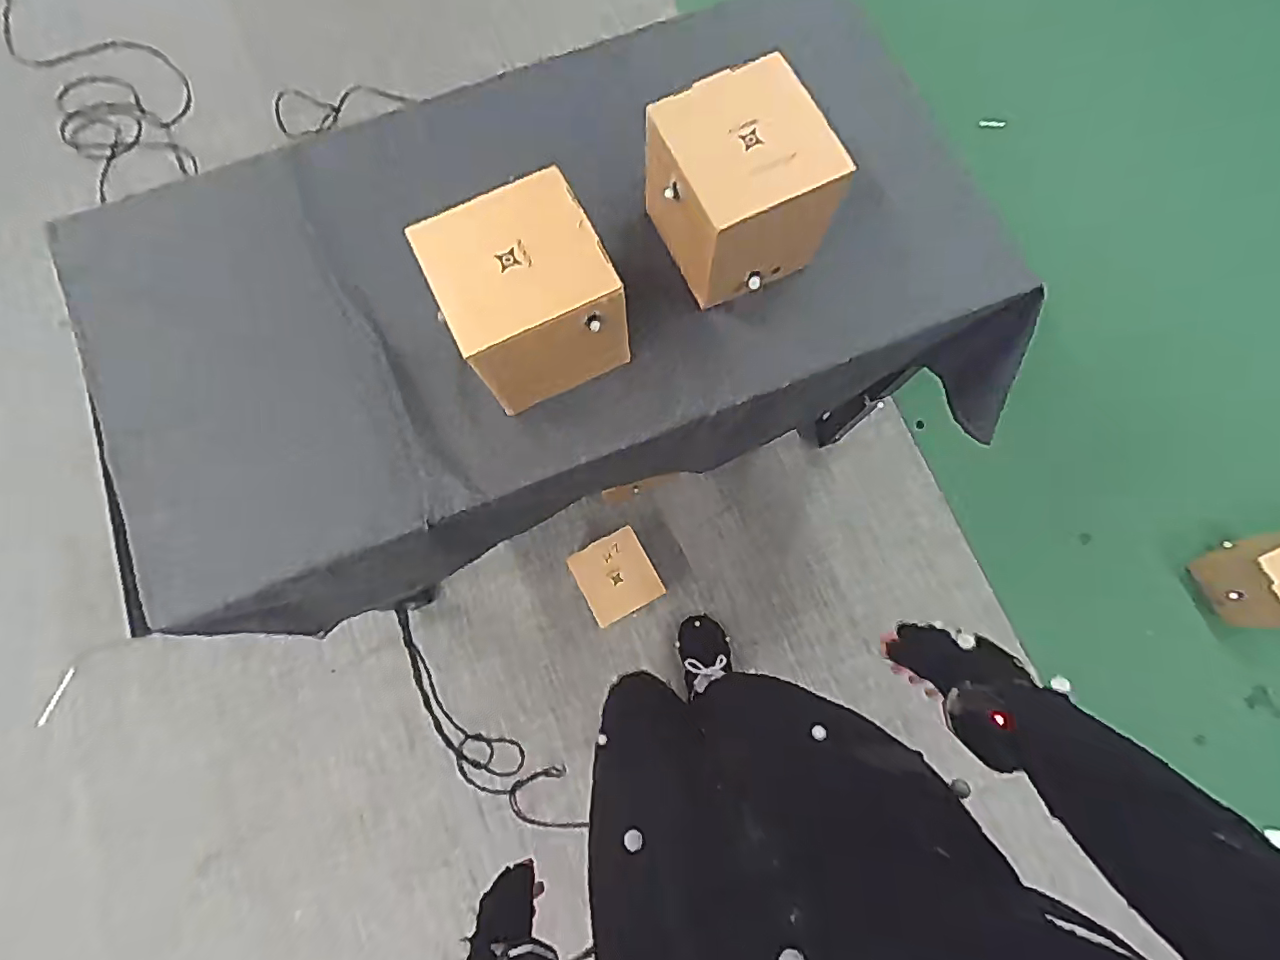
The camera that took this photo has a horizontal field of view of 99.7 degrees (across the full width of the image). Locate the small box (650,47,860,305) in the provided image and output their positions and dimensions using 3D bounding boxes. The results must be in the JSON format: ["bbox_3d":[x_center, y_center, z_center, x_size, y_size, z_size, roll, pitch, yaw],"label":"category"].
[{"bbox_3d":[0.119,-0.346,0.642,0.168,0.176,0.179,-25,78,-3],"label":"small box"}]

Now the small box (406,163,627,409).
[{"bbox_3d":[-0.126,-0.205,0.617,0.179,0.176,0.168,-26,78,-5],"label":"small box"}]

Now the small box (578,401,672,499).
[{"bbox_3d":[-0.036,-0.067,1.327,0.179,0.176,0.168,-24,79,-3],"label":"small box"}]

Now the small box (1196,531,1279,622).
[{"bbox_3d":[1.455,0.222,1.244,0.179,0.176,0.168,-23,79,-3],"label":"small box"}]
